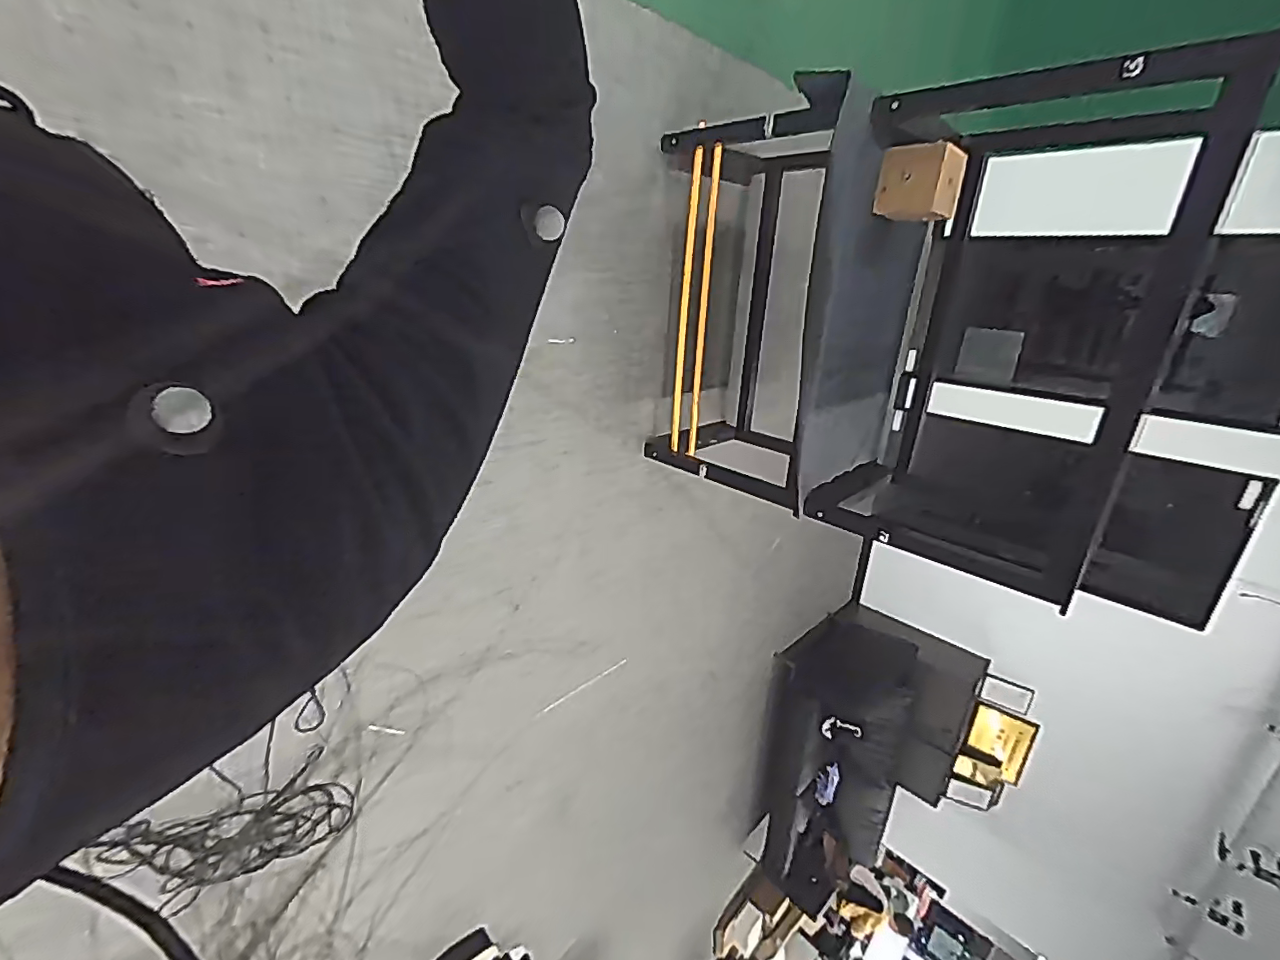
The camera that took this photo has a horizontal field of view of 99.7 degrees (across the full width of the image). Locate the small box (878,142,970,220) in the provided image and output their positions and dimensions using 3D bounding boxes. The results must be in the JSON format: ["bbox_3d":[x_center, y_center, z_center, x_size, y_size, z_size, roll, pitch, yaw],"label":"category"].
[{"bbox_3d":[0.800,-0.838,1.532,0.179,0.176,0.168,-15,119,-44],"label":"small box"}]
